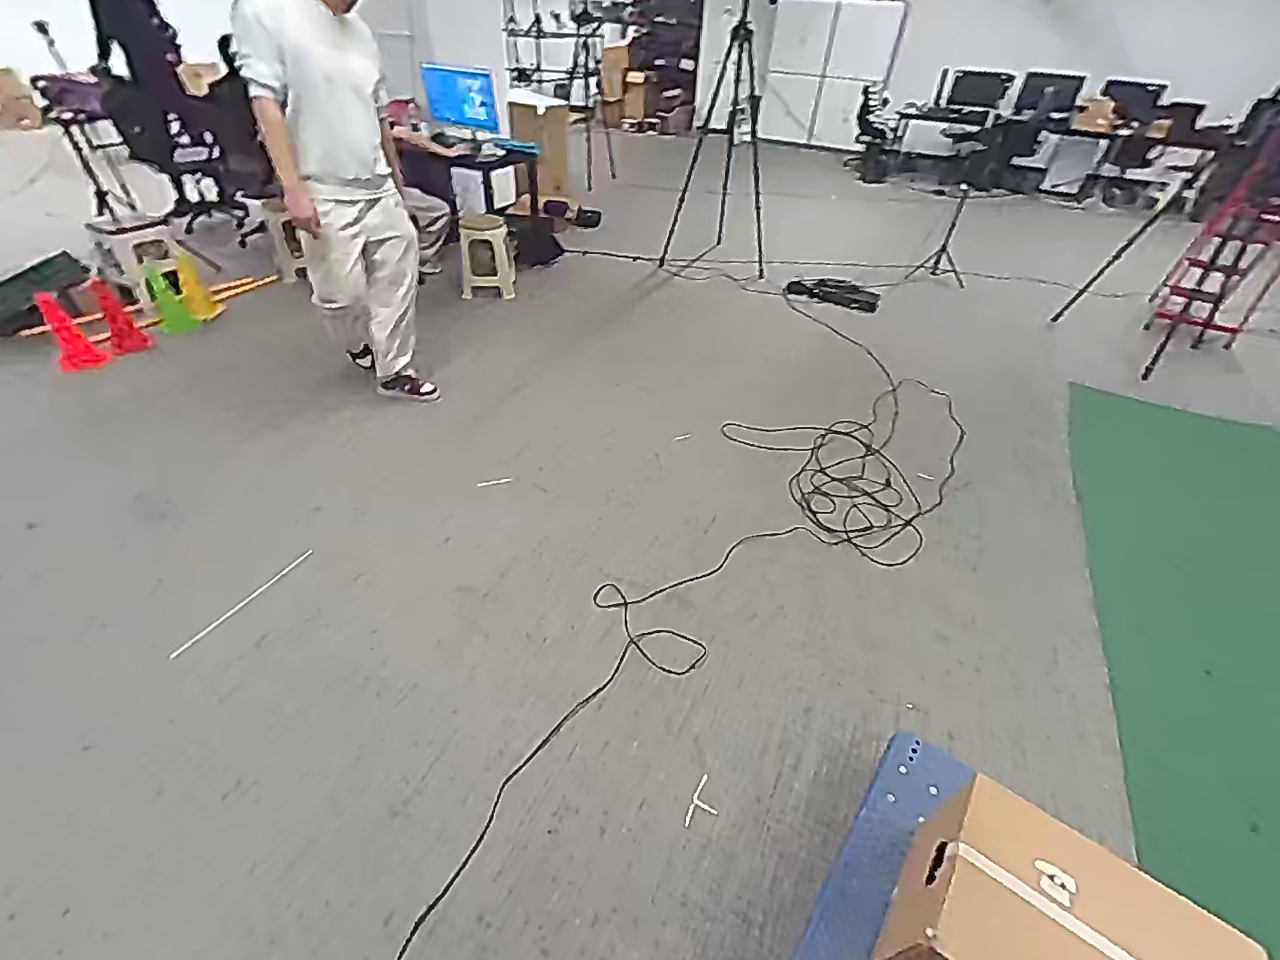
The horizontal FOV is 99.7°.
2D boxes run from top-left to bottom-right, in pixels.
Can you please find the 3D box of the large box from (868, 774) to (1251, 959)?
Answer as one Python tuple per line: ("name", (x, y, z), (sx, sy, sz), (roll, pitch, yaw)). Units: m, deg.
("large box", (0.668, 0.805, 0.907), (0.408, 0.320, 0.320), (27, 45, 27))
